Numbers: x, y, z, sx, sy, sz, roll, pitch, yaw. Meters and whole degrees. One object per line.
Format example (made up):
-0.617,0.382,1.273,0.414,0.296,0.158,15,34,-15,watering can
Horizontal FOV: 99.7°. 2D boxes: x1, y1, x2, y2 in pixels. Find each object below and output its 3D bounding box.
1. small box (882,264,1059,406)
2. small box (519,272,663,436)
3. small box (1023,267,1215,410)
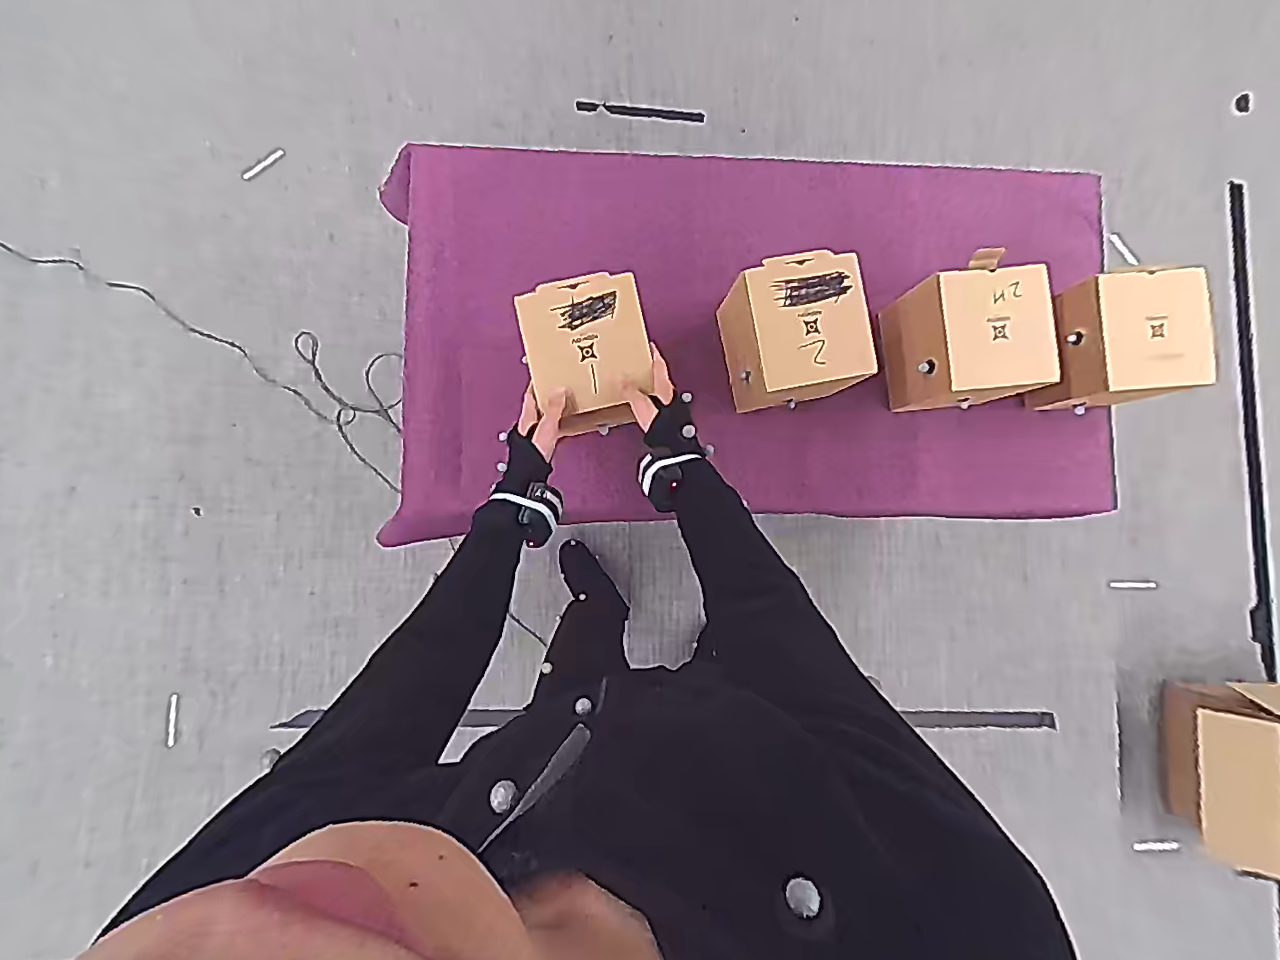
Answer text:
0.507,-0.216,0.851,0.168,0.176,0.179,-6,87,-4,small box
-0.068,-0.175,0.800,0.168,0.176,0.179,-13,87,0,small box
0.746,-0.218,0.867,0.168,0.176,0.179,-4,87,-2,small box
